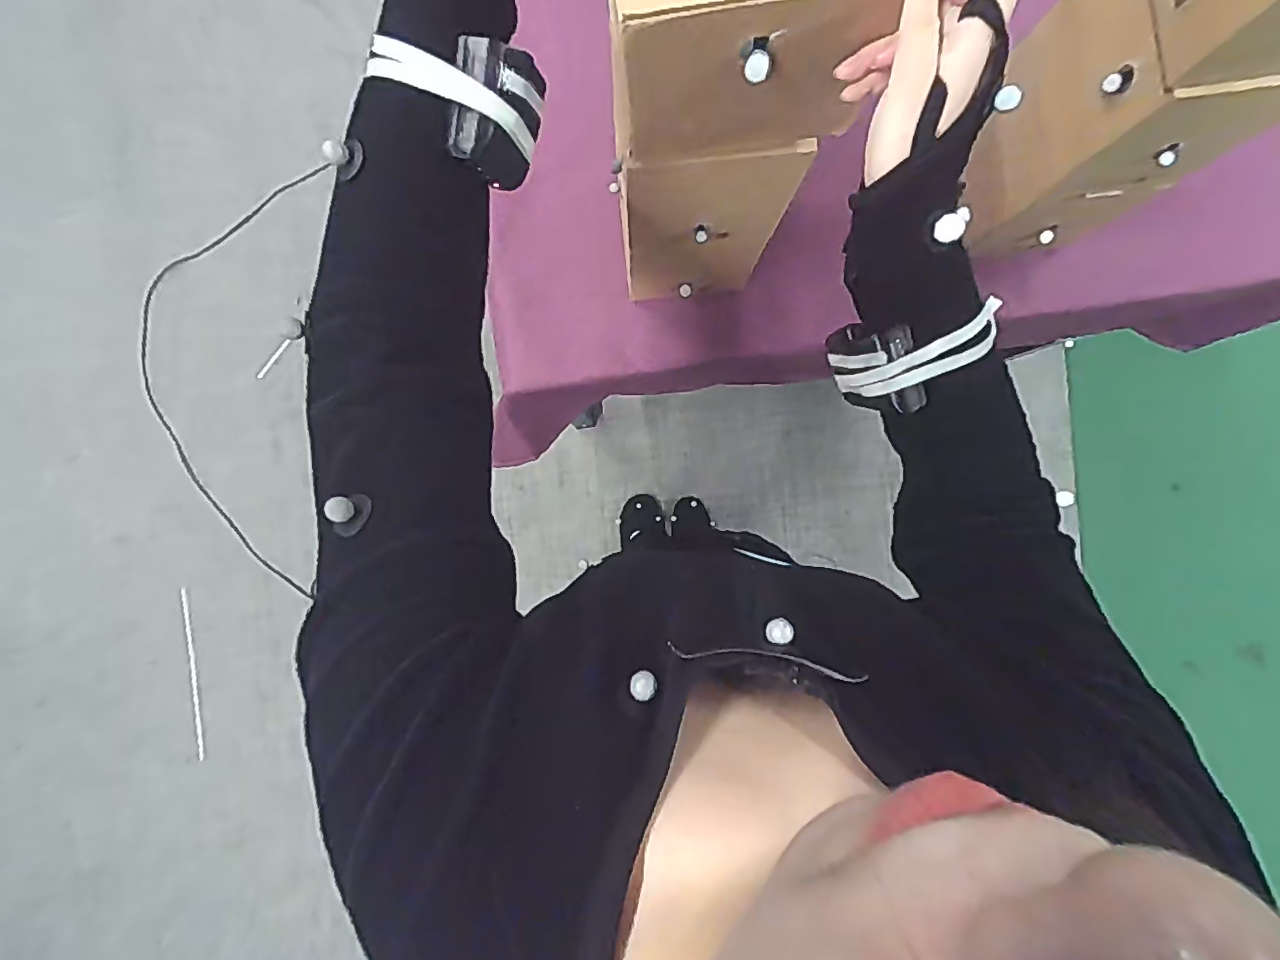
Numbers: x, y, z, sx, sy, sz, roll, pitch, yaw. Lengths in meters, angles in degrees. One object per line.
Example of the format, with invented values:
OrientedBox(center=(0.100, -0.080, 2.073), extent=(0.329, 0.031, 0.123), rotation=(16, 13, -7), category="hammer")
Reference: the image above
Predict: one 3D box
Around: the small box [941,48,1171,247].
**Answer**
OrientedBox(center=(0.523, -0.421, 0.702), extent=(0.168, 0.176, 0.179), rotation=(-7, 91, 0), category="small box")

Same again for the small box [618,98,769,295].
OrientedBox(center=(0.060, -0.360, 0.702), extent=(0.168, 0.176, 0.179), rotation=(-6, 91, 0), category="small box")

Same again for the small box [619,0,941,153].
OrientedBox(center=(0.072, -0.340, 0.348), extent=(0.179, 0.176, 0.168), rotation=(-6, 98, 3), category="small box")

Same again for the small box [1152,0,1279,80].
OrientedBox(center=(0.514, -0.424, 0.374), extent=(0.179, 0.176, 0.168), rotation=(-8, 89, 1), category="small box")

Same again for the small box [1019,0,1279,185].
OrientedBox(center=(0.519, -0.419, 0.537), extent=(0.168, 0.176, 0.179), rotation=(-8, 90, 0), category="small box")
